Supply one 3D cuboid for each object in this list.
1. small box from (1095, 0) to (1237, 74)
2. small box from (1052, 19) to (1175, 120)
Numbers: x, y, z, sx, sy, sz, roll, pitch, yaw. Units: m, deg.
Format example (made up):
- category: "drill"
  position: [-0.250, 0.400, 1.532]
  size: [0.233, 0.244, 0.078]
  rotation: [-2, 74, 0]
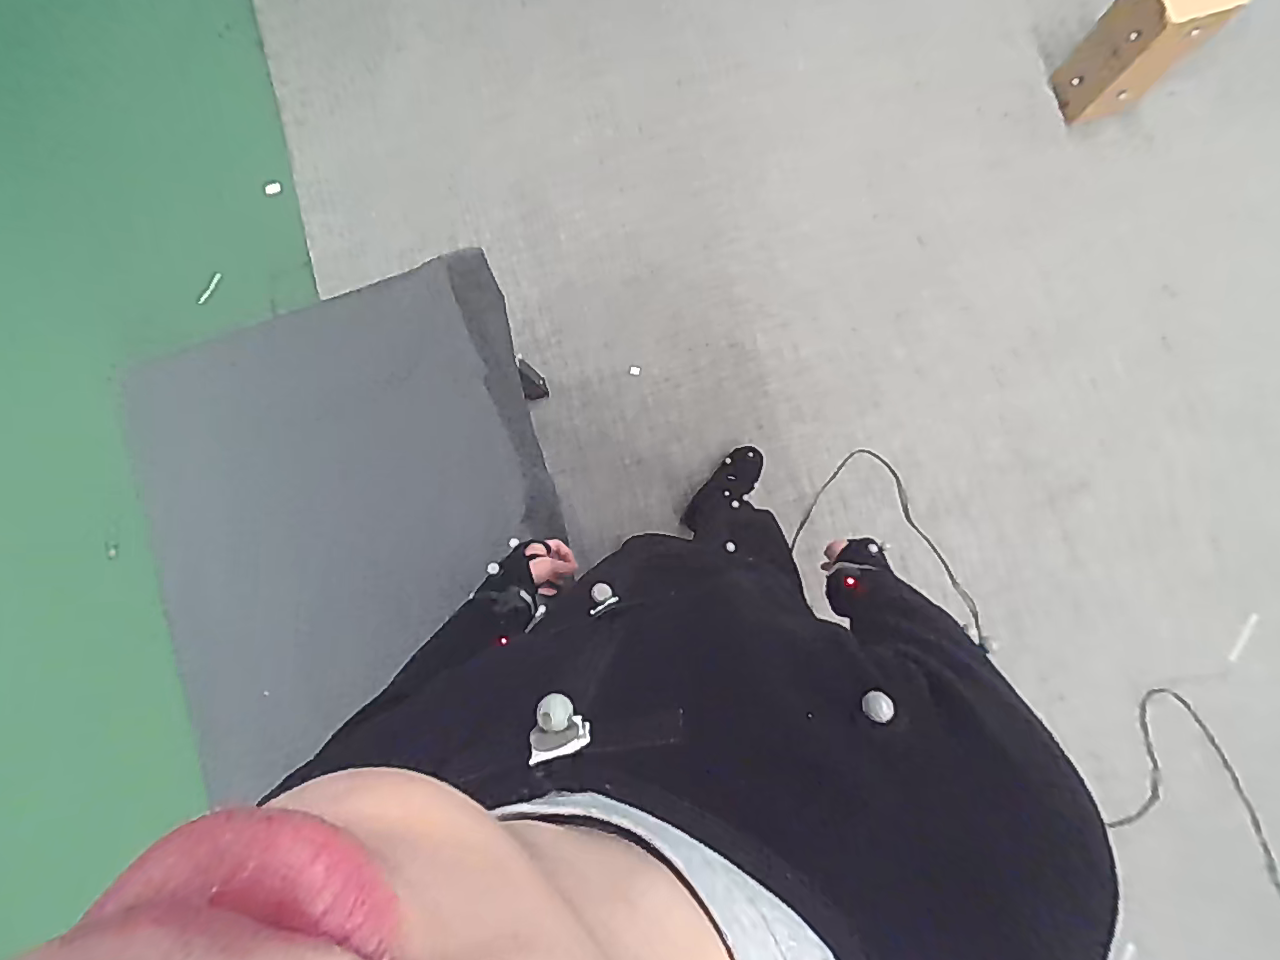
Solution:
- category: "small box"
  position: [1.252, -1.132, 1.303]
  size: [0.179, 0.176, 0.168]
  rotation: [-15, 86, 2]
- category: "small box"
  position: [1.265, -1.123, 1.465]
  size: [0.179, 0.176, 0.168]
  rotation: [-15, 86, 4]
